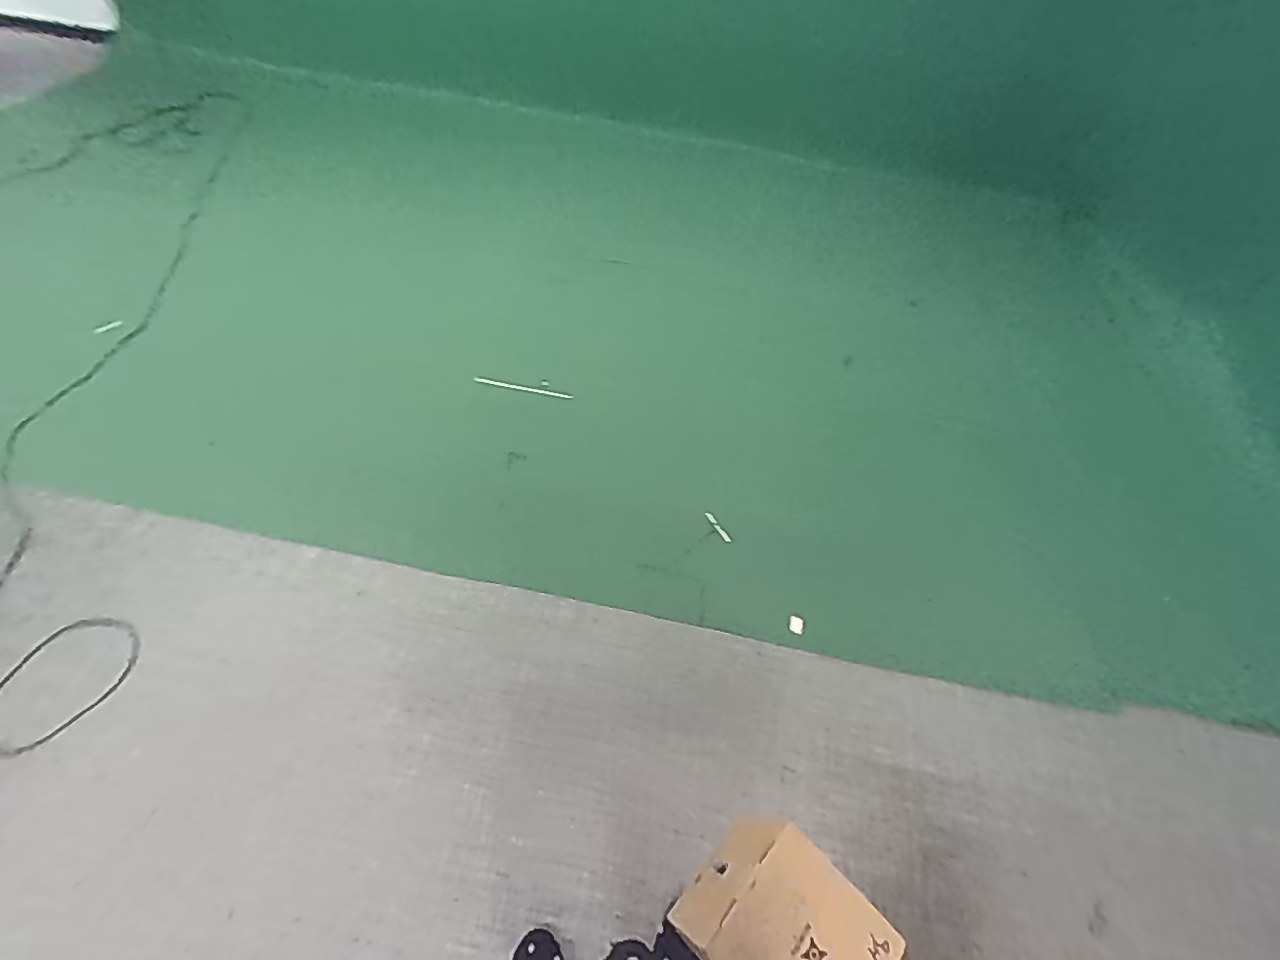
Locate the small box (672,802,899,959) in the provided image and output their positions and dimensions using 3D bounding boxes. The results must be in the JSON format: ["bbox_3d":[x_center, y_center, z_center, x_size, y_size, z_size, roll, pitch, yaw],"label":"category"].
[{"bbox_3d":[0.163,0.530,0.658,0.179,0.176,0.168,42,61,14],"label":"small box"}]
